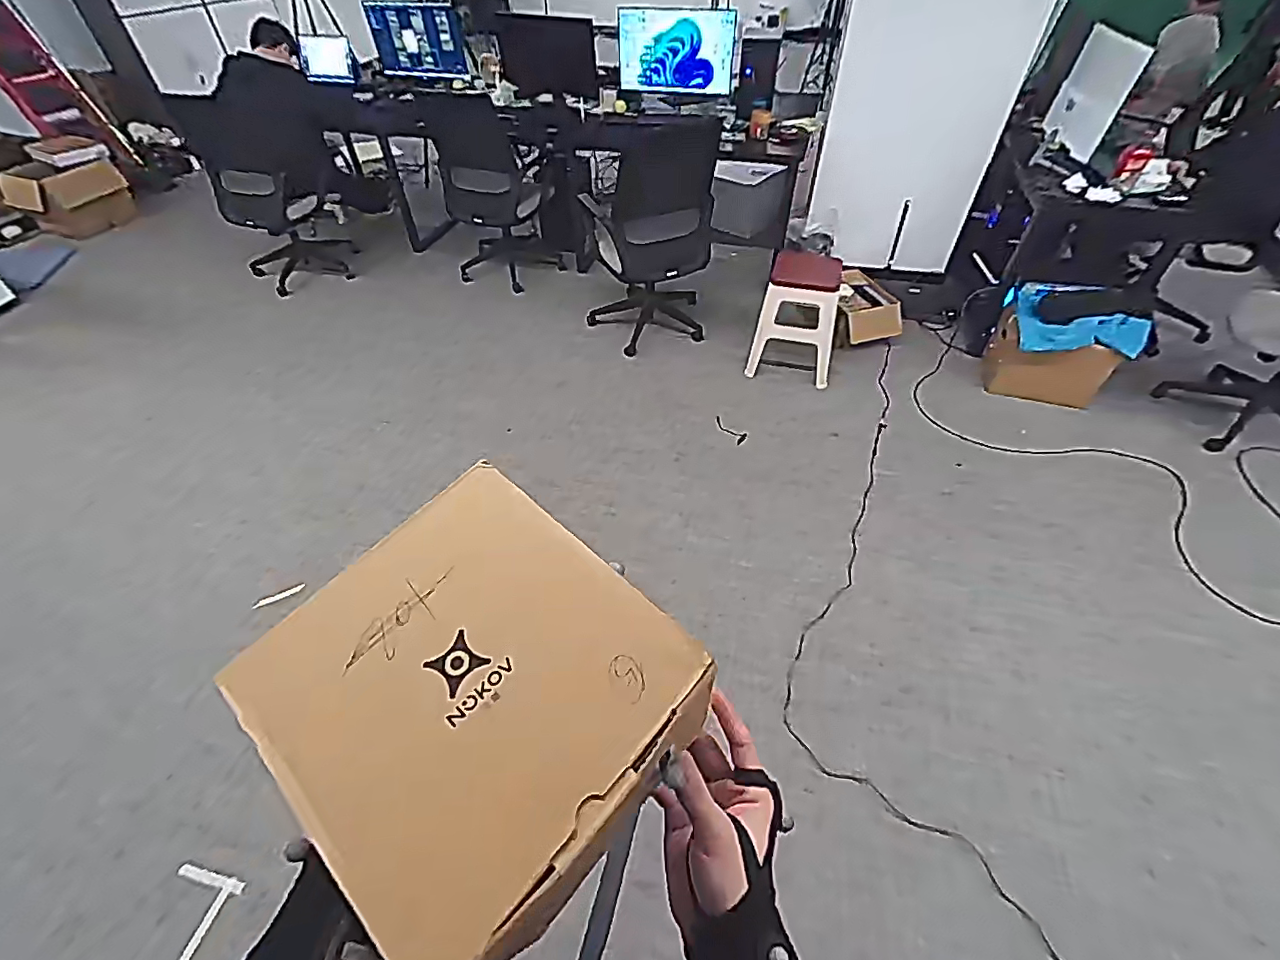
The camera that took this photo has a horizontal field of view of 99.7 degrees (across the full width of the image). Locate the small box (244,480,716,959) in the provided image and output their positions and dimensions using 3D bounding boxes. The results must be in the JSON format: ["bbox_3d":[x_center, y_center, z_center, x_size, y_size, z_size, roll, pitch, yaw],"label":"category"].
[{"bbox_3d":[-0.074,0.139,0.329,0.179,0.176,0.168,35,65,24],"label":"small box"}]
